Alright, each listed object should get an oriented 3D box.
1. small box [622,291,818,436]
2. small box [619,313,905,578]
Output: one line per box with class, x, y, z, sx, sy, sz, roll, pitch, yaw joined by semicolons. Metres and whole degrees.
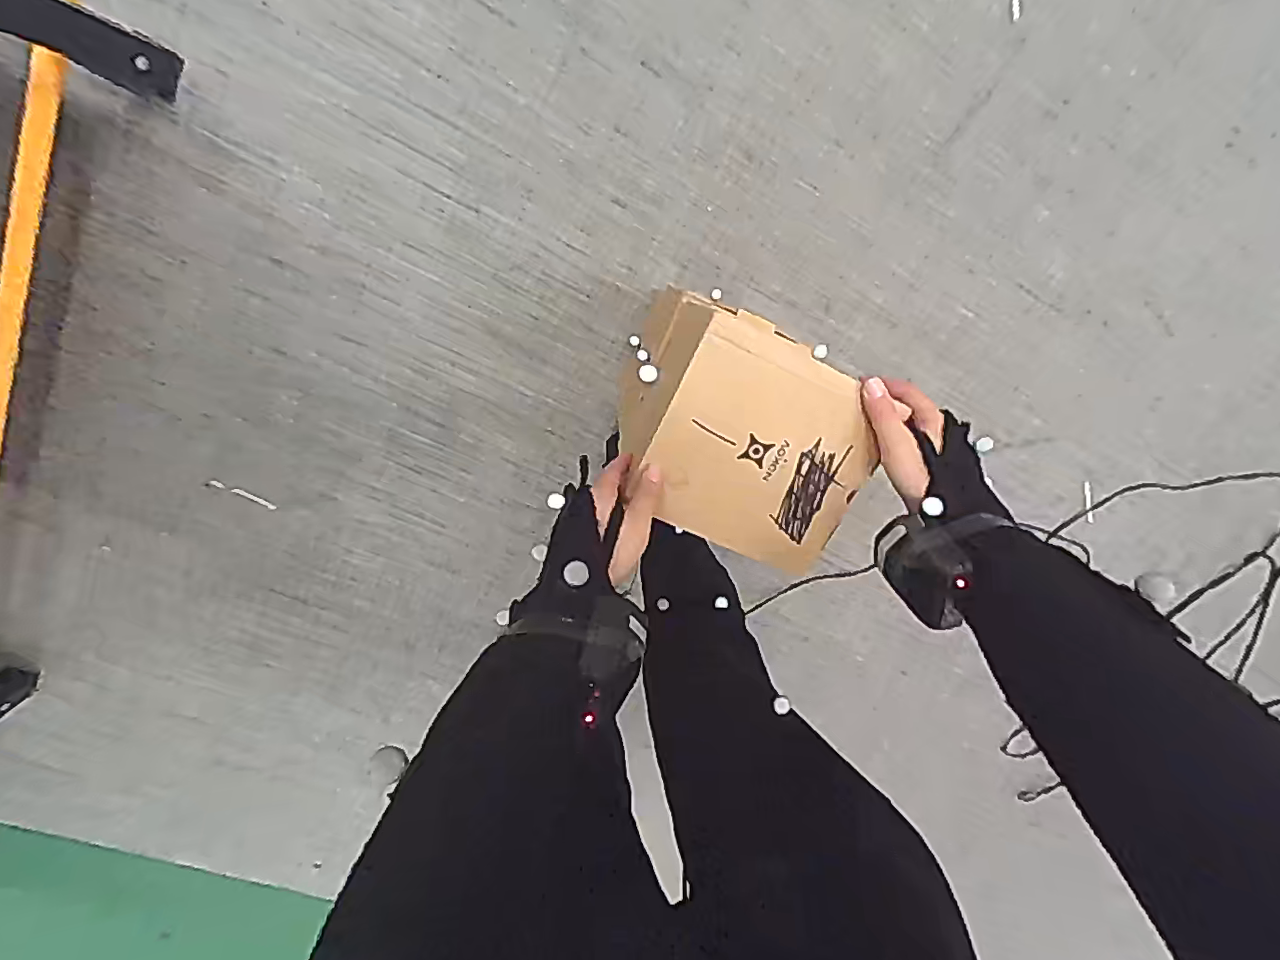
small box;0.081;-0.120;0.668;0.168;0.176;0.179;21;110;-11
small box;0.092;-0.044;0.501;0.179;0.176;0.168;24;107;-10
